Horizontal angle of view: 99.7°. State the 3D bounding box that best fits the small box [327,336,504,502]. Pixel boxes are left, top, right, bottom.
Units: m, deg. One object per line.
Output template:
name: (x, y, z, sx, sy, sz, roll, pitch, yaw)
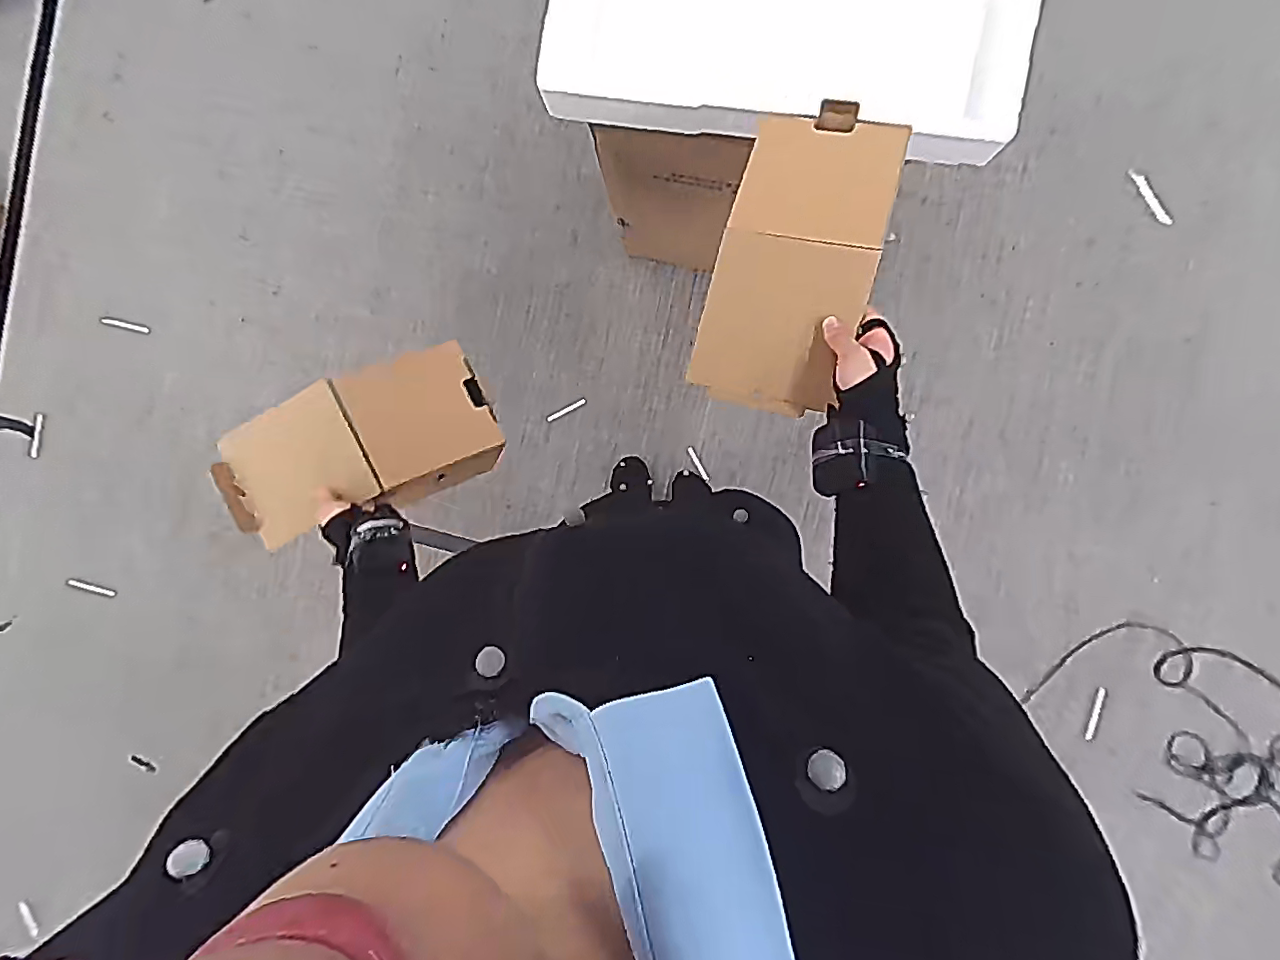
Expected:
small box: (-0.320, -0.080, 0.783, 0.179, 0.176, 0.168, -24, 89, -26)
